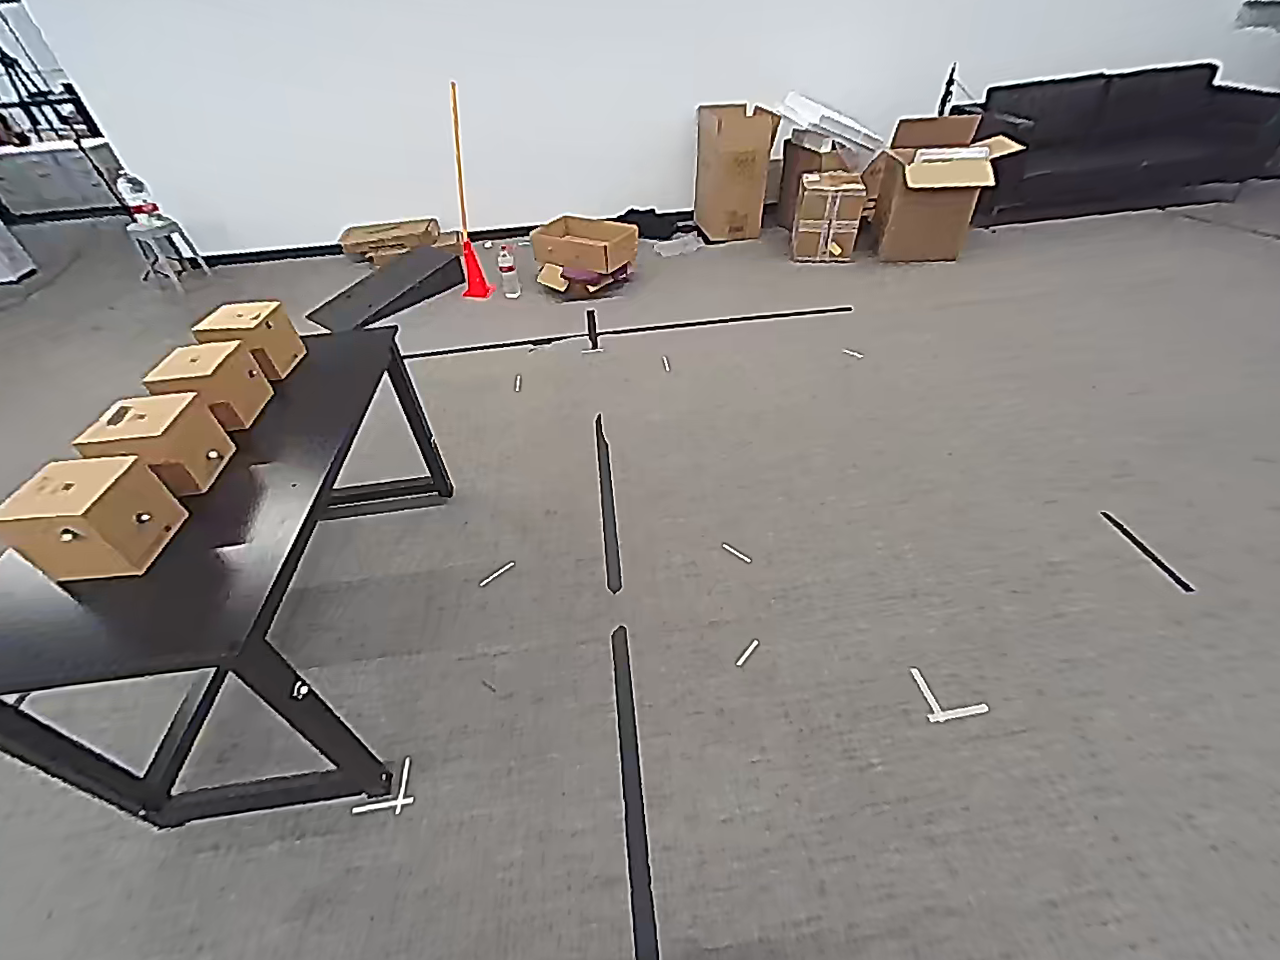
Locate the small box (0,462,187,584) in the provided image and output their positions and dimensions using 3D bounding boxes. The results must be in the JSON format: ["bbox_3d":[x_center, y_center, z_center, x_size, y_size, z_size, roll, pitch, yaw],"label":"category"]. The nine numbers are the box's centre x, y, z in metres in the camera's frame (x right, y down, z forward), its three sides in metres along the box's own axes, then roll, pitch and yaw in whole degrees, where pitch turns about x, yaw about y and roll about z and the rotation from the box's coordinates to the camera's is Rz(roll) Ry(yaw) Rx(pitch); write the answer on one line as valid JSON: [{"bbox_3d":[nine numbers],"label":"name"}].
[{"bbox_3d":[-1.053,0.085,1.055,0.179,0.176,0.168,-5,41,0],"label":"small box"}]

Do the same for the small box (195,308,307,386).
[{"bbox_3d":[-1.131,-0.385,1.587,0.179,0.176,0.168,-4,43,2],"label":"small box"}]

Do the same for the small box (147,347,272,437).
[{"bbox_3d":[-1.104,-0.225,1.409,0.168,0.176,0.179,-8,43,-2],"label":"small box"}]

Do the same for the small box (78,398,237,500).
[{"bbox_3d":[-1.074,-0.063,1.222,0.179,0.176,0.168,-7,41,-5],"label":"small box"}]
